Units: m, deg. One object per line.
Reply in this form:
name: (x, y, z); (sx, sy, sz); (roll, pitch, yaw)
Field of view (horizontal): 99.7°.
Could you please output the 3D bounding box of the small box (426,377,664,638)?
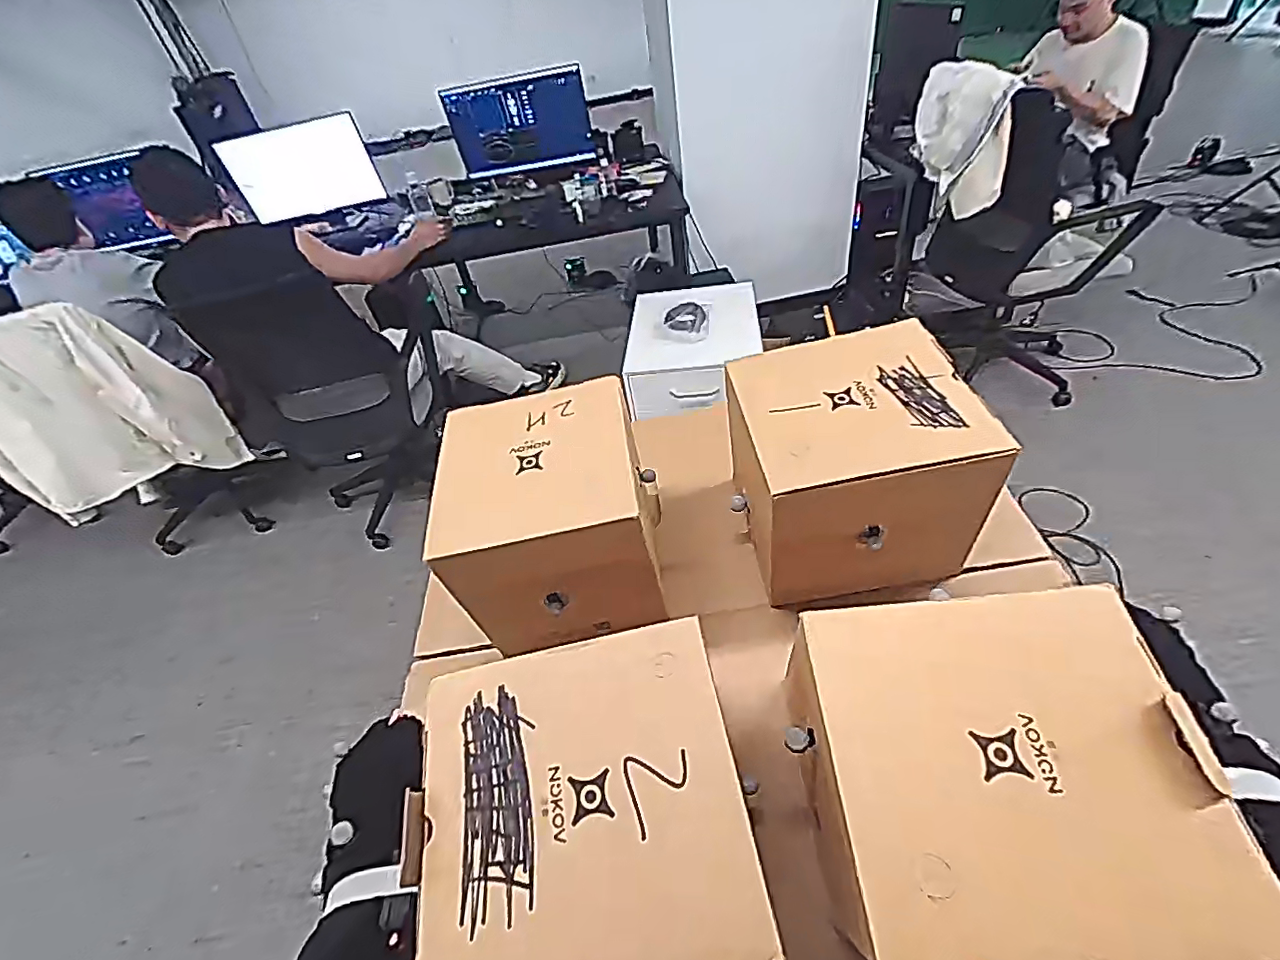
small box: (-0.077, 0.034, 0.515); (0.168, 0.176, 0.179); (-11, 47, 3)
